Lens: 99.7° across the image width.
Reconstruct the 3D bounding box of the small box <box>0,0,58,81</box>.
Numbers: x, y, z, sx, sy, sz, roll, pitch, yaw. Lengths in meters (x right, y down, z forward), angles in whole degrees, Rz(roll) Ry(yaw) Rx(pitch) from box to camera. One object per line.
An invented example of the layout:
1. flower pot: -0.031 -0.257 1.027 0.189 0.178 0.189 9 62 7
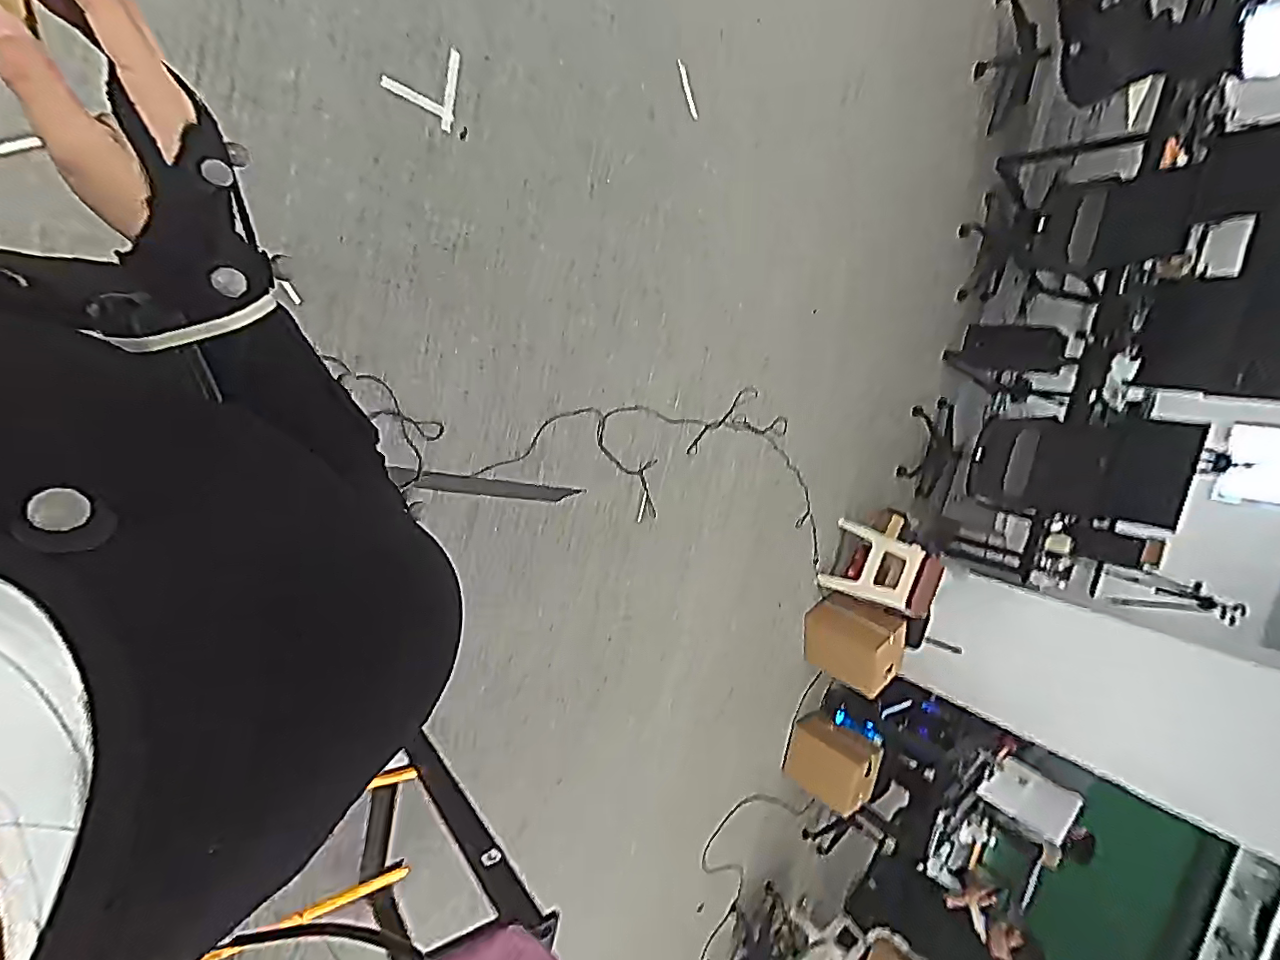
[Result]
1. small box: -0.348 -0.282 0.200 0.168 0.176 0.179 -8 120 -43
